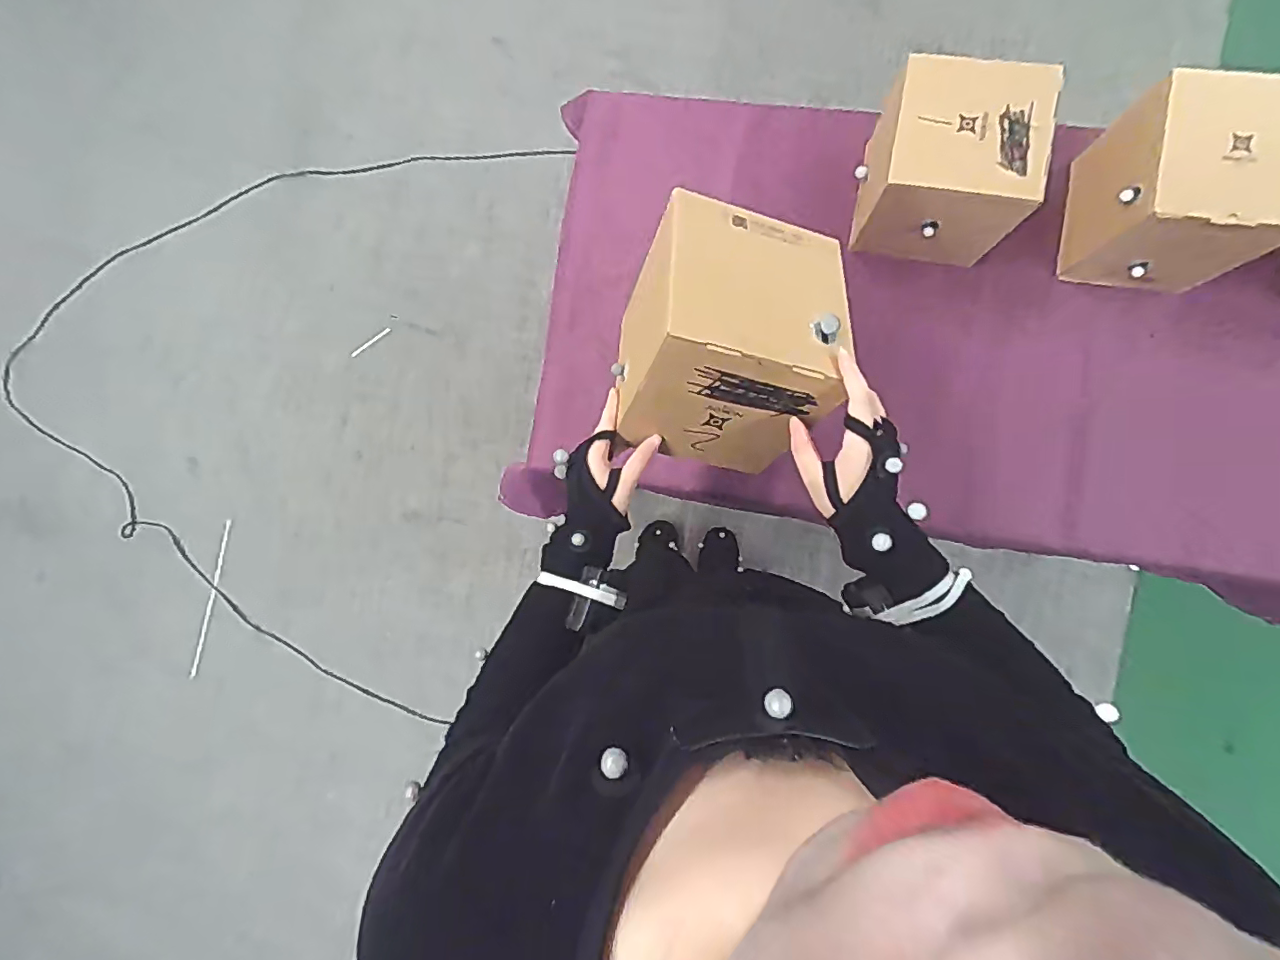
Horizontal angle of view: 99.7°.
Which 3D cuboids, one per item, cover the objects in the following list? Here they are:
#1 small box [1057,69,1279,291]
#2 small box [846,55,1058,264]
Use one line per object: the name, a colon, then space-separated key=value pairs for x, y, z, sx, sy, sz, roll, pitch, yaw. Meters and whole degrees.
small box: x=0.669 y=-0.363 z=0.679 sx=0.168 sy=0.176 sz=0.179 roll=9 pitch=88 yaw=7
small box: x=0.392 y=-0.405 z=0.710 sx=0.179 sy=0.176 sz=0.168 roll=11 pitch=87 yaw=8
